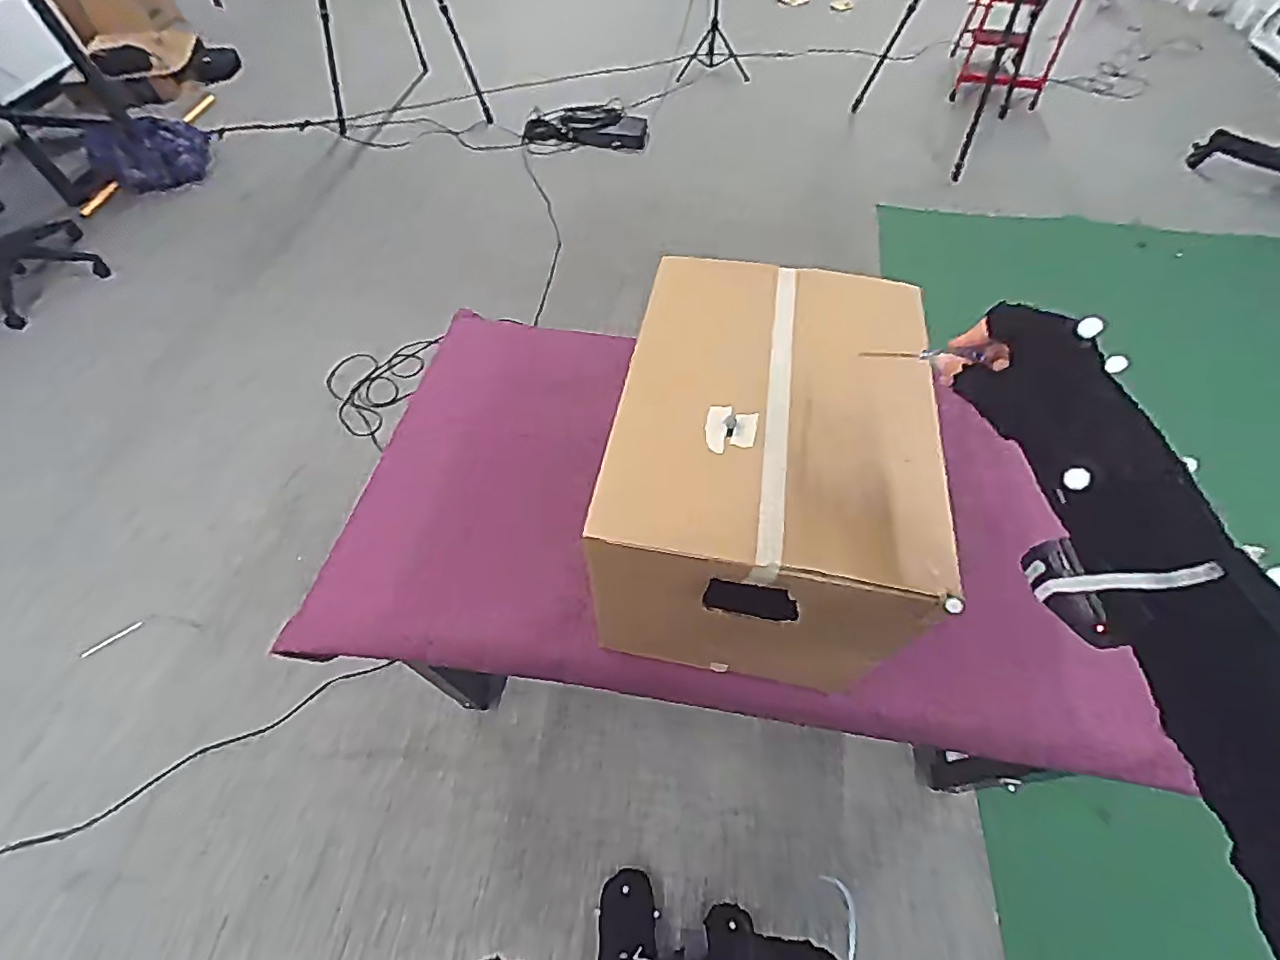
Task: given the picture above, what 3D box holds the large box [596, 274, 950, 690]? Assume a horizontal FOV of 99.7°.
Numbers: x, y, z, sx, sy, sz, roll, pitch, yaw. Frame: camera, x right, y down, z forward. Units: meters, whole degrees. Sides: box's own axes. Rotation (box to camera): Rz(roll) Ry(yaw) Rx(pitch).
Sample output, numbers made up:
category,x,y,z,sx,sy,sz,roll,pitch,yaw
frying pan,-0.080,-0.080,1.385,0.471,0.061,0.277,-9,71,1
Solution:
category,x,y,z,sx,sy,sz,roll,pitch,yaw
large box,0.142,0.005,0.693,0.320,0.320,0.408,9,57,6
